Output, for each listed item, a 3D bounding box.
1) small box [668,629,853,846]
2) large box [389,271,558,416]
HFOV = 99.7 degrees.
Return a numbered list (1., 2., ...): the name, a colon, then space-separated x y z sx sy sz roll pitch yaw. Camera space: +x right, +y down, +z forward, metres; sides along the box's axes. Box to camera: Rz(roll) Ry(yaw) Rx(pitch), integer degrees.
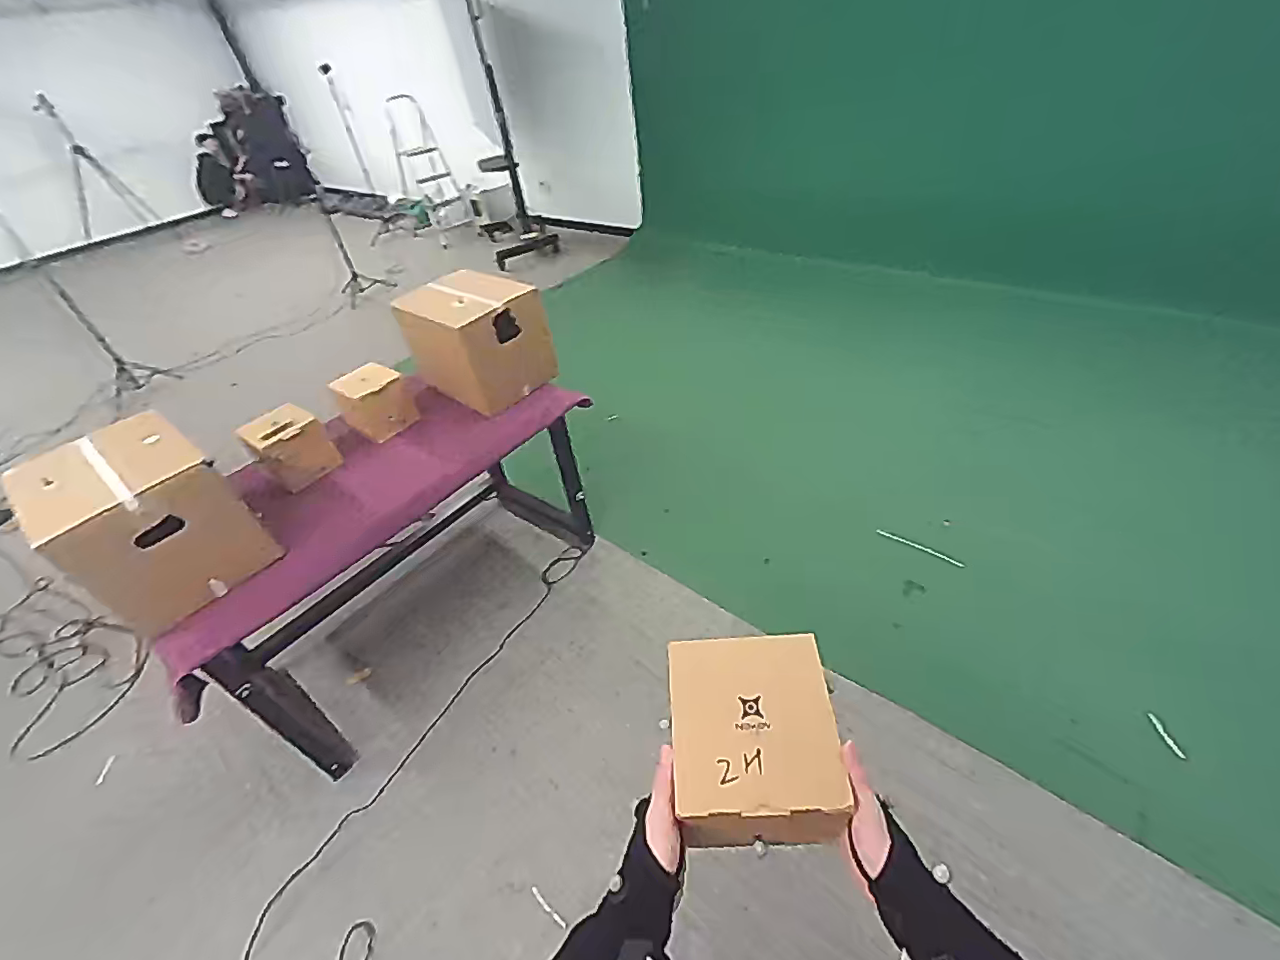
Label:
1. small box: 0.120 0.289 0.607 0.168 0.176 0.179 -5 47 4
2. large box: -0.542 -0.461 1.795 0.408 0.320 0.320 26 53 32
